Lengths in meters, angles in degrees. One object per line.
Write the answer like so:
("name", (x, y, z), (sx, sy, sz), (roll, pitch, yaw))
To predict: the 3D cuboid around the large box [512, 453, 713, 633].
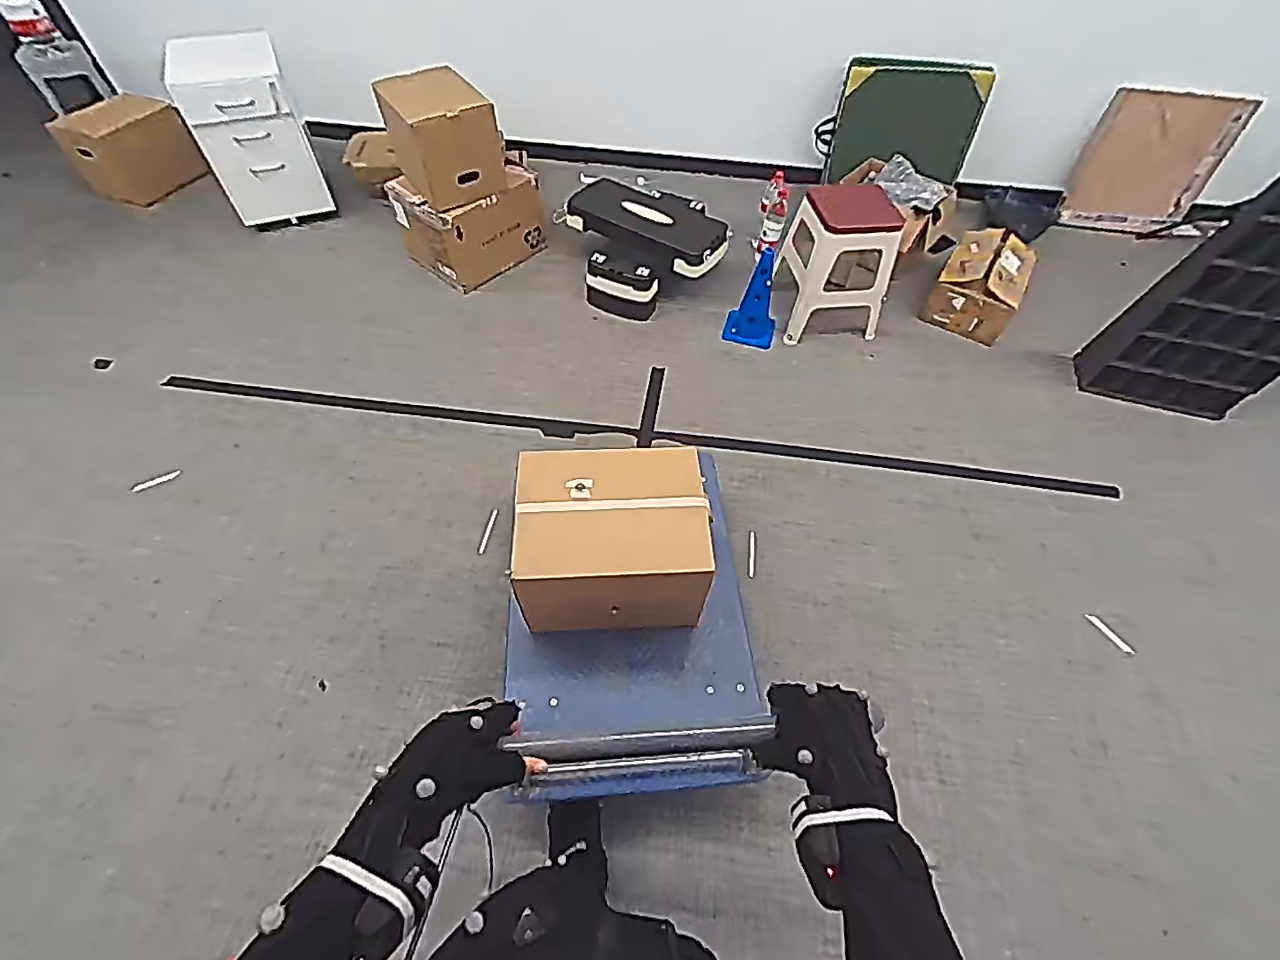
("large box", (-0.065, 0.155, 1.268), (0.408, 0.320, 0.320), (-2, 55, -3))
